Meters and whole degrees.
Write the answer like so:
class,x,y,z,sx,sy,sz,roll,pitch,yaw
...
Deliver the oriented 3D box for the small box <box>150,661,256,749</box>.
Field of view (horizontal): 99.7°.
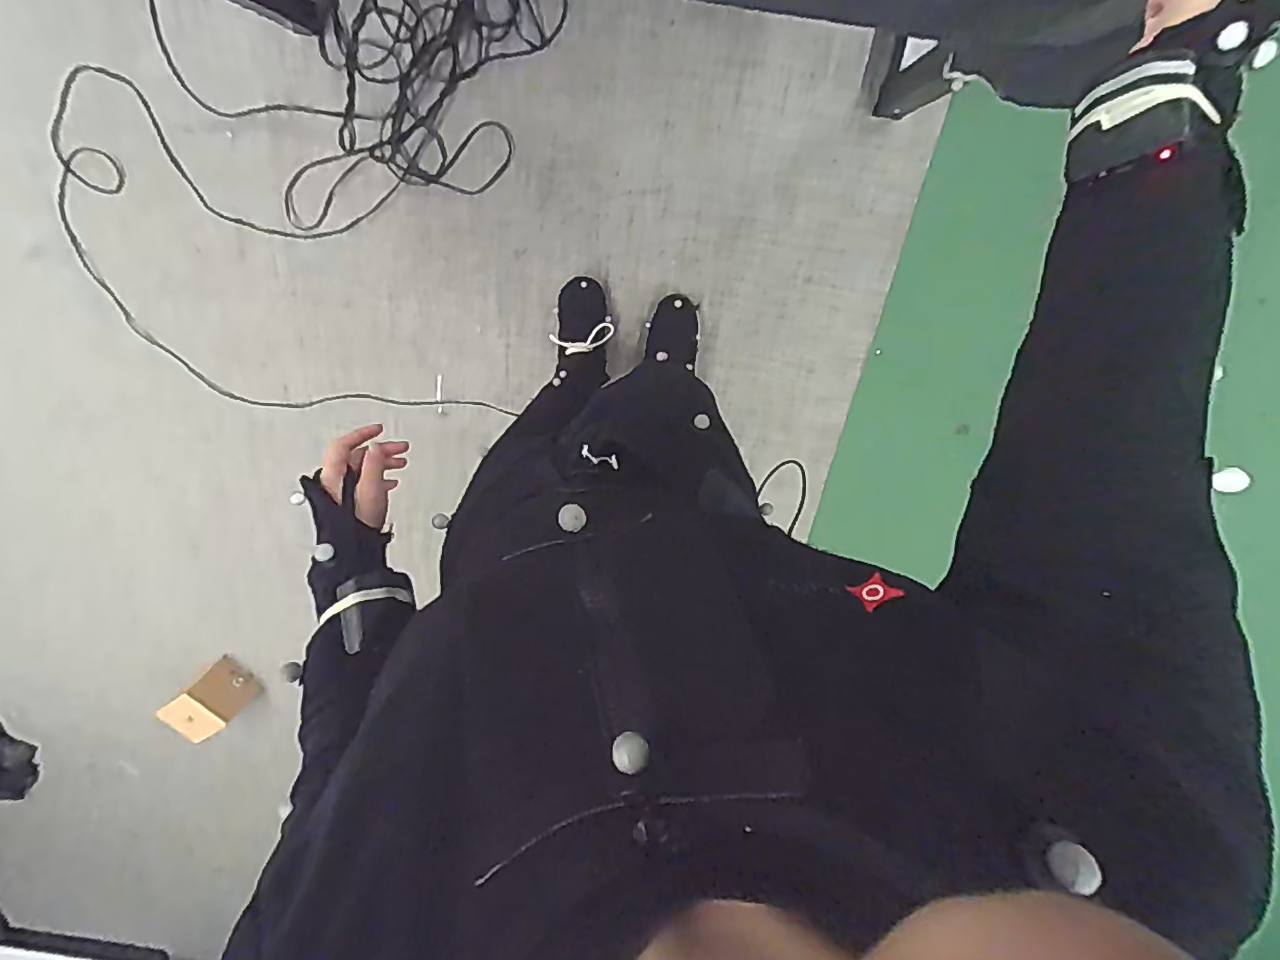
class,x,y,z,sx,sy,sz,roll,pitch,yaw
small box,-1.413,0.730,1.762,0.179,0.176,0.168,-32,110,17
